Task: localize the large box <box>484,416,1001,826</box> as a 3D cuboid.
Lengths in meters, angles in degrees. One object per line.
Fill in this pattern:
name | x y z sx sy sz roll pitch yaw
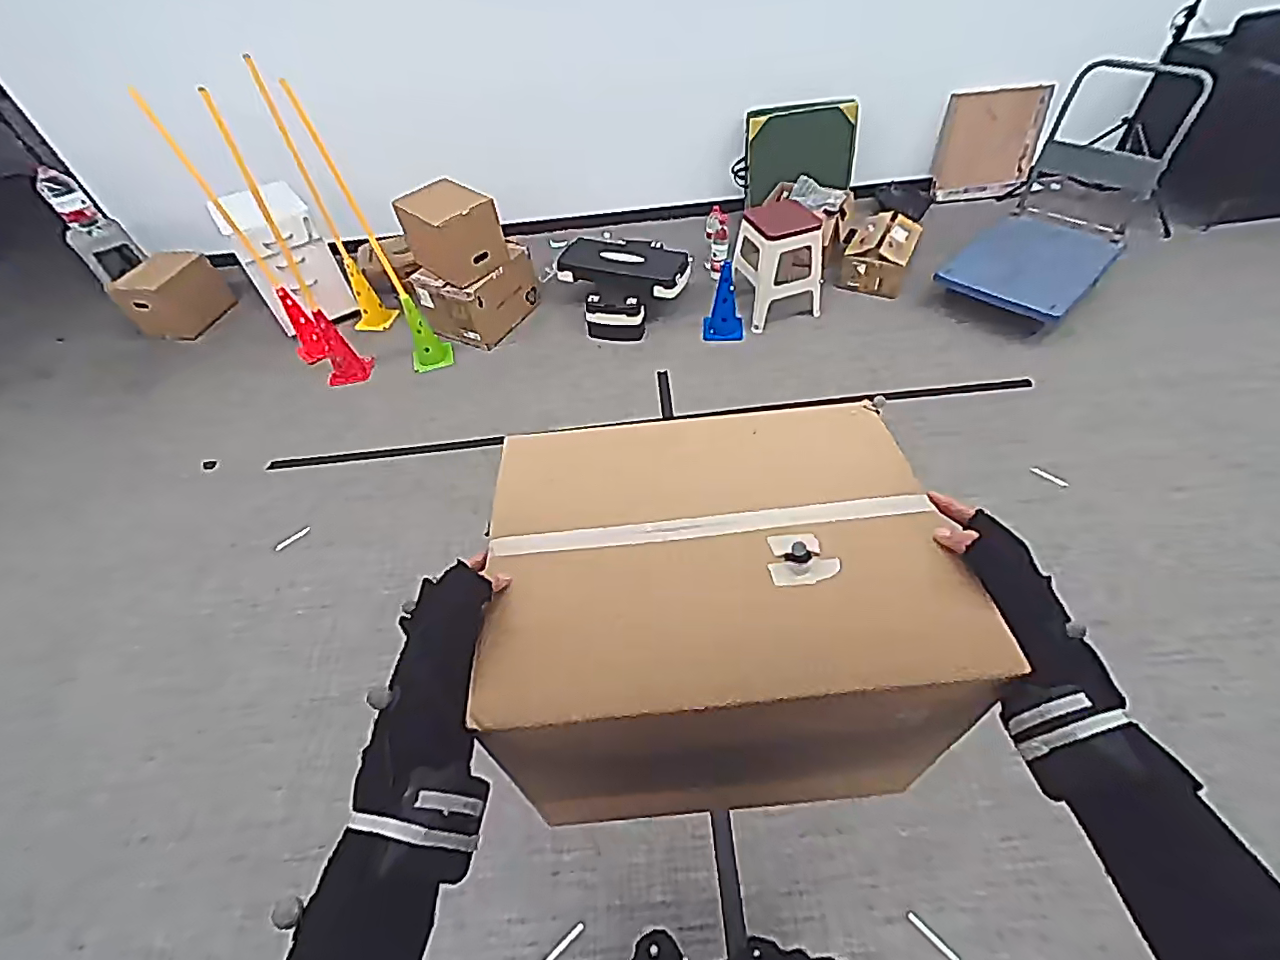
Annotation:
large box | 0.074 0.159 0.613 0.408 0.320 0.320 -6 46 -1
